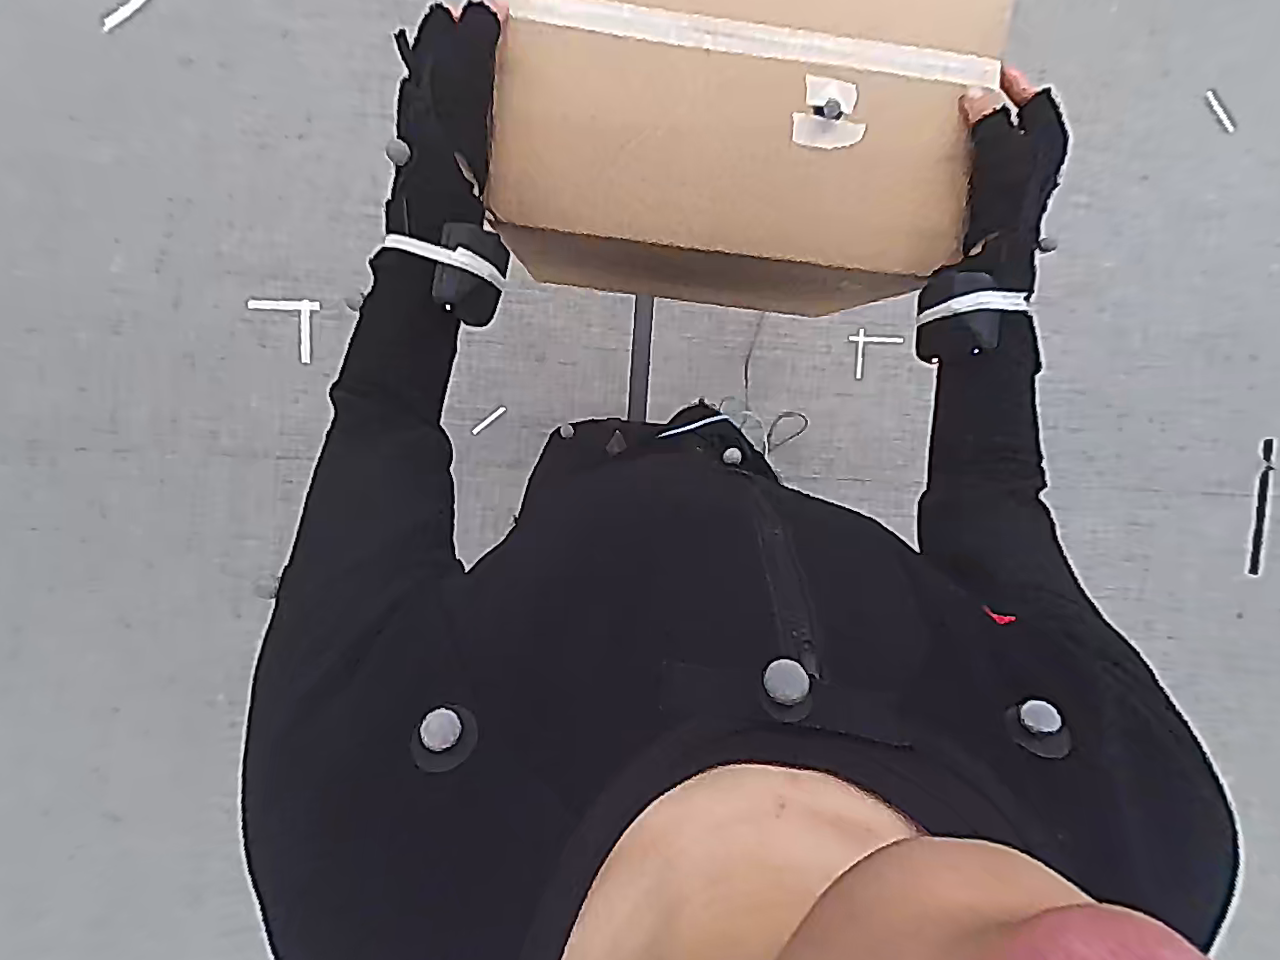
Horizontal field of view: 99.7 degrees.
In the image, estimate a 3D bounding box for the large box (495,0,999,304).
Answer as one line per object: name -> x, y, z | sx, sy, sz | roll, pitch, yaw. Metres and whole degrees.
large box -> 0.078, -0.385, 0.583 | 0.408, 0.320, 0.320 | 6, 102, -5
